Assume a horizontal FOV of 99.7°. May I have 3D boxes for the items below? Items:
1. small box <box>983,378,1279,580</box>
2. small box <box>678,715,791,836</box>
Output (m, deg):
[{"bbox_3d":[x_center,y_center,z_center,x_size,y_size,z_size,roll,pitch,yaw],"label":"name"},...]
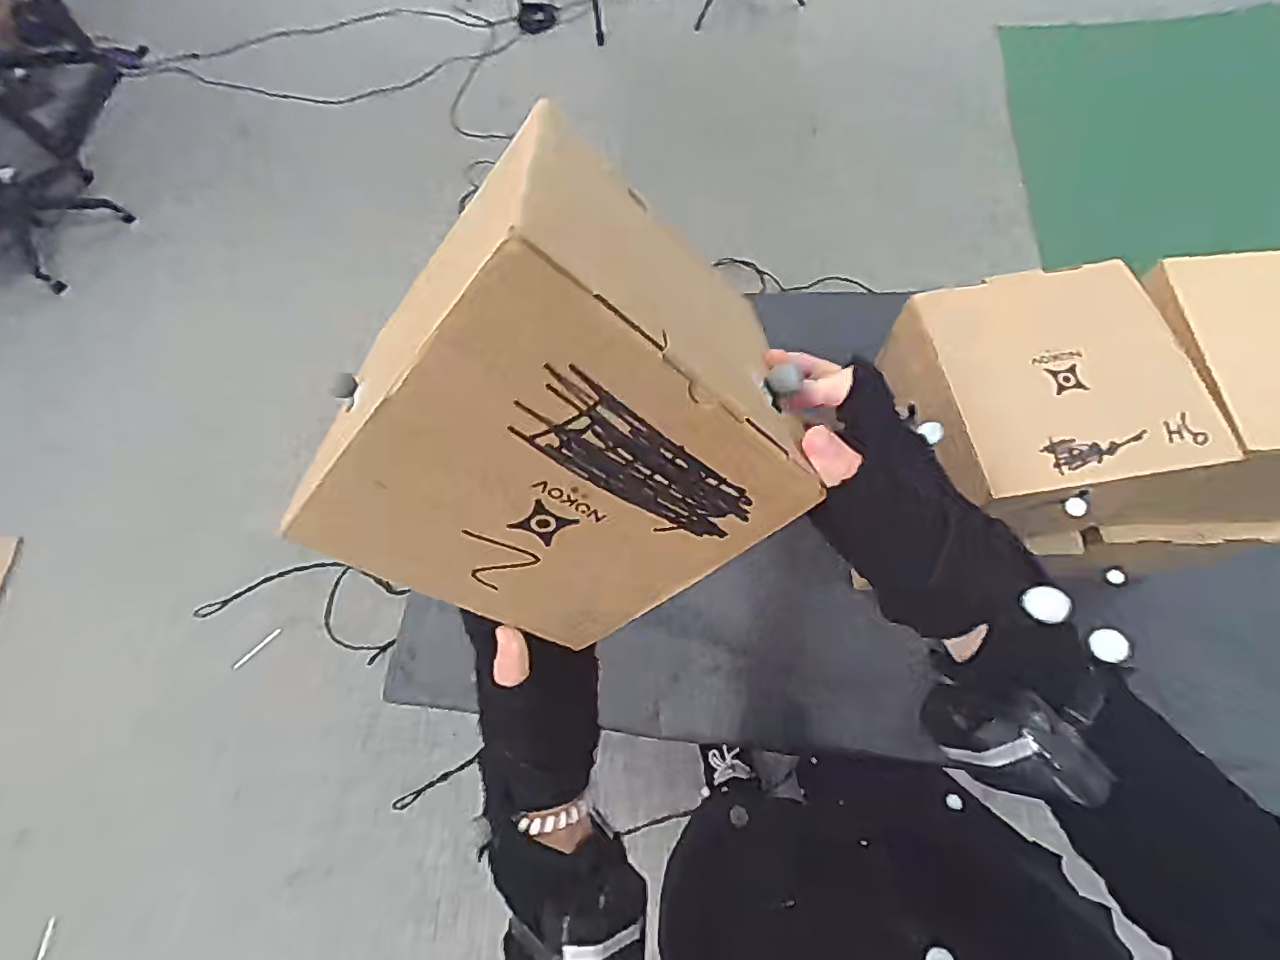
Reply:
[{"bbox_3d":[0.515,0.006,0.599,0.168,0.176,0.179,-1,68,7],"label":"small box"},{"bbox_3d":[0.203,0.637,1.187,0.179,0.176,0.168,25,83,34],"label":"small box"}]
